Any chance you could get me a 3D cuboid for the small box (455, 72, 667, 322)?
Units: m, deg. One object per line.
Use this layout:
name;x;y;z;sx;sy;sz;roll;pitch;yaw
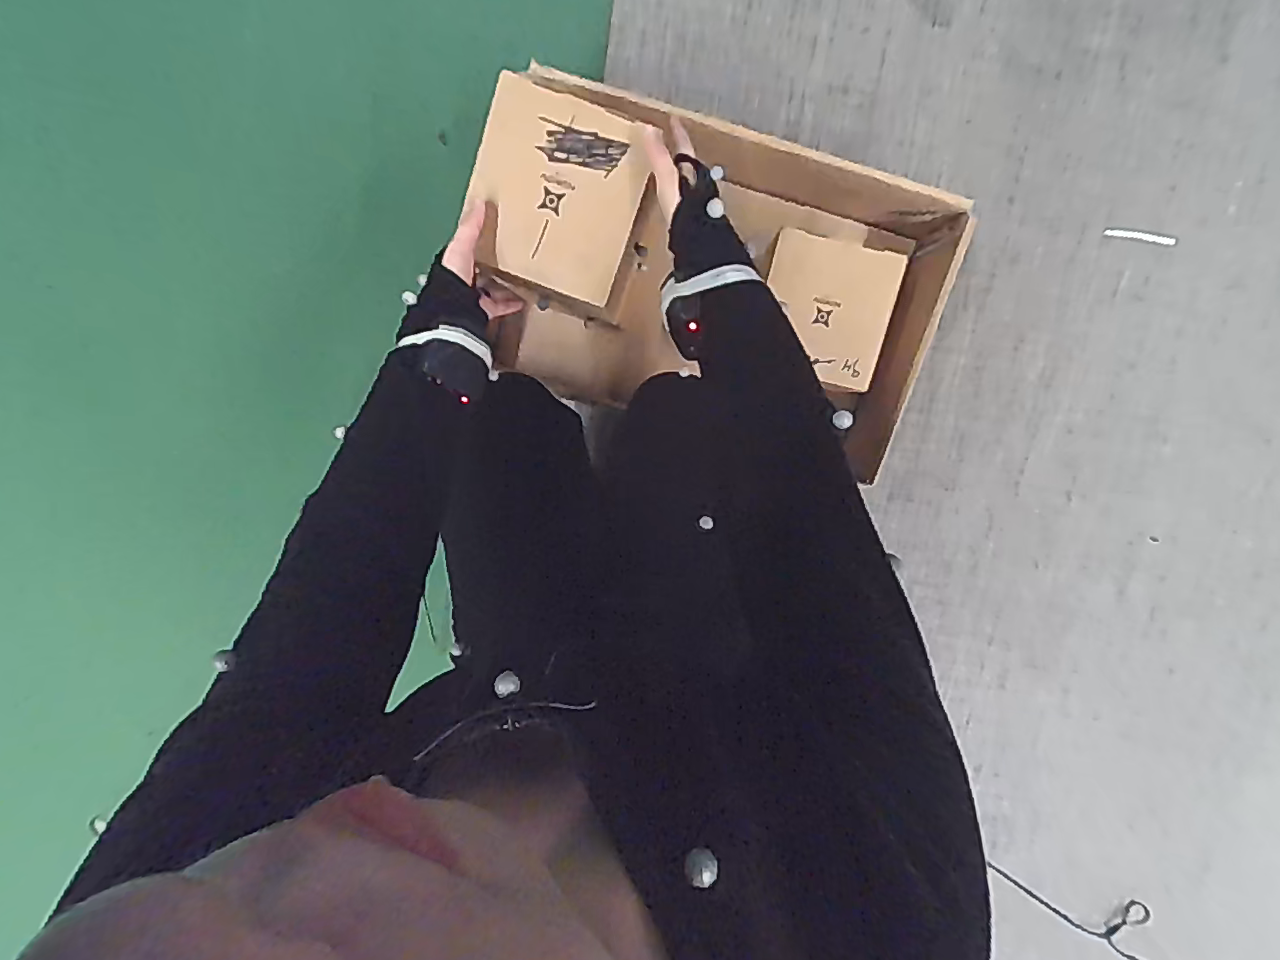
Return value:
small box;-0.078;-0.293;0.604;0.168;0.176;0.179;20;101;-2
